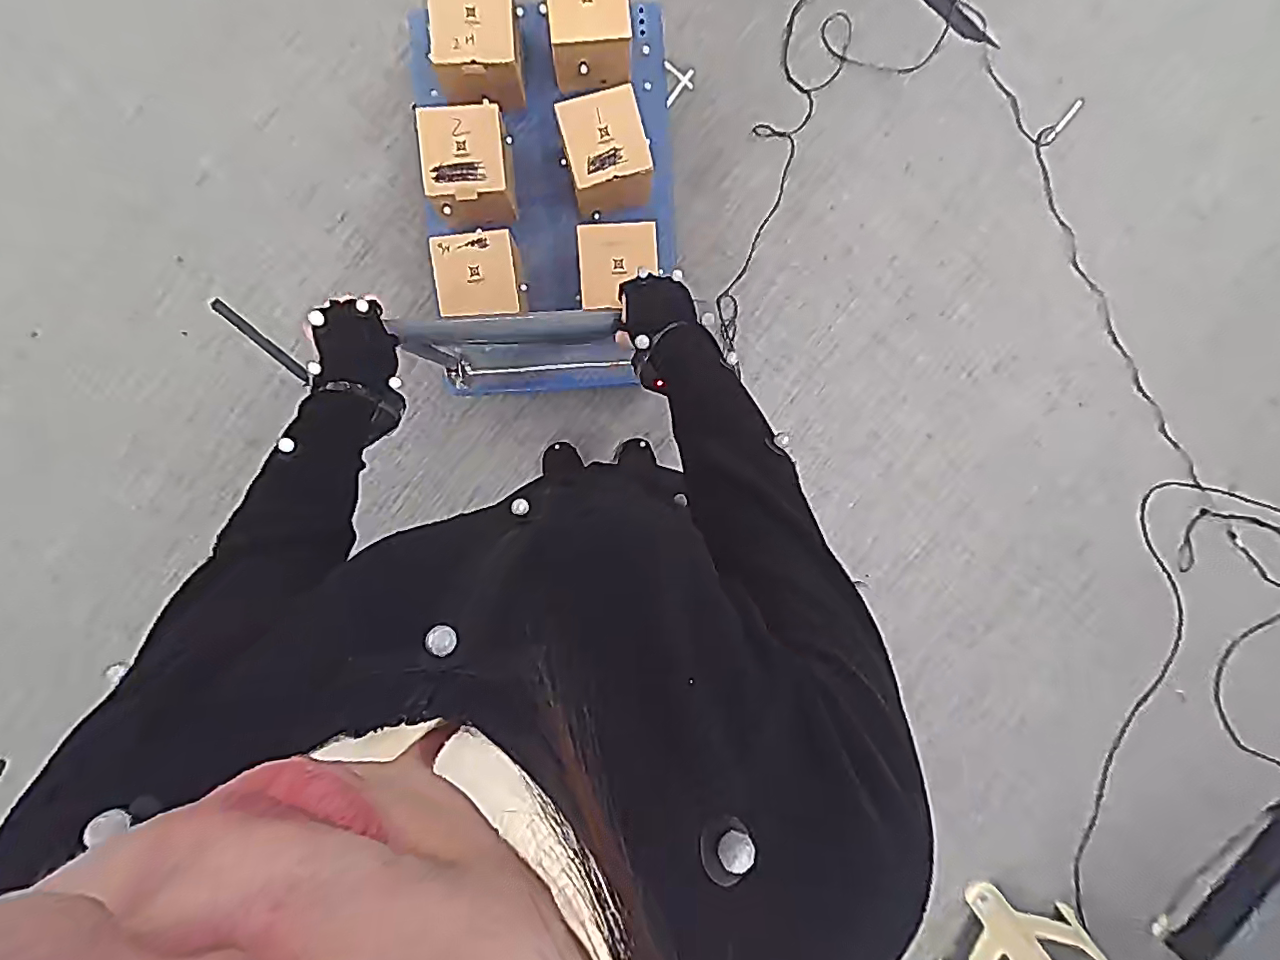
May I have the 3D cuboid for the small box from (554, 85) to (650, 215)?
[{"bbox_3d":[-0.079,-0.709,1.188,0.168,0.176,0.179,-16,94,-2],"label":"small box"}]

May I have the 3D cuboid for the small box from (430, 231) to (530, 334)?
[{"bbox_3d":[-0.345,-0.427,1.196,0.168,0.176,0.179,-8,95,-3],"label":"small box"}]

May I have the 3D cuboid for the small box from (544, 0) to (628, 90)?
[{"bbox_3d":[-0.114,-0.978,1.166,0.168,0.176,0.179,-7,95,-2],"label":"small box"}]

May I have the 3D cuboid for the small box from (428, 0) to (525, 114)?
[{"bbox_3d":[-0.343,-0.924,1.155,0.168,0.176,0.179,-2,95,-3],"label":"small box"}]

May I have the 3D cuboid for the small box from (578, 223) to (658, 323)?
[{"bbox_3d":[-0.049,-0.454,1.210,0.168,0.176,0.179,-3,94,-3],"label":"small box"}]
